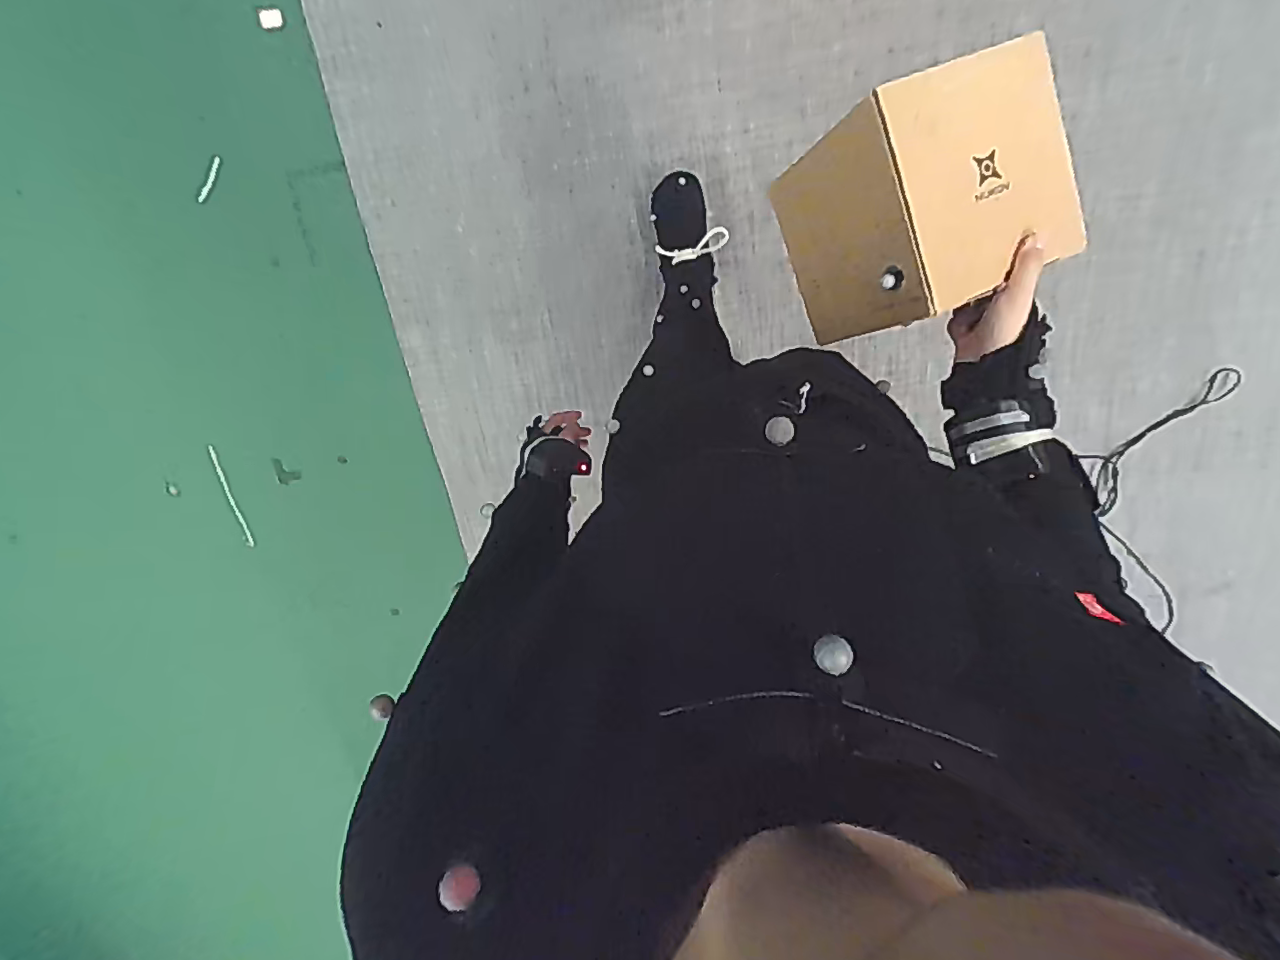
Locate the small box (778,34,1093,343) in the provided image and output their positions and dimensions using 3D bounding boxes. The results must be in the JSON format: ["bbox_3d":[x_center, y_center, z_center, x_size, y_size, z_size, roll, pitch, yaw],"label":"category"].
[{"bbox_3d":[0.255,-0.248,0.501,0.168,0.176,0.179,-24,99,-10],"label":"small box"}]
